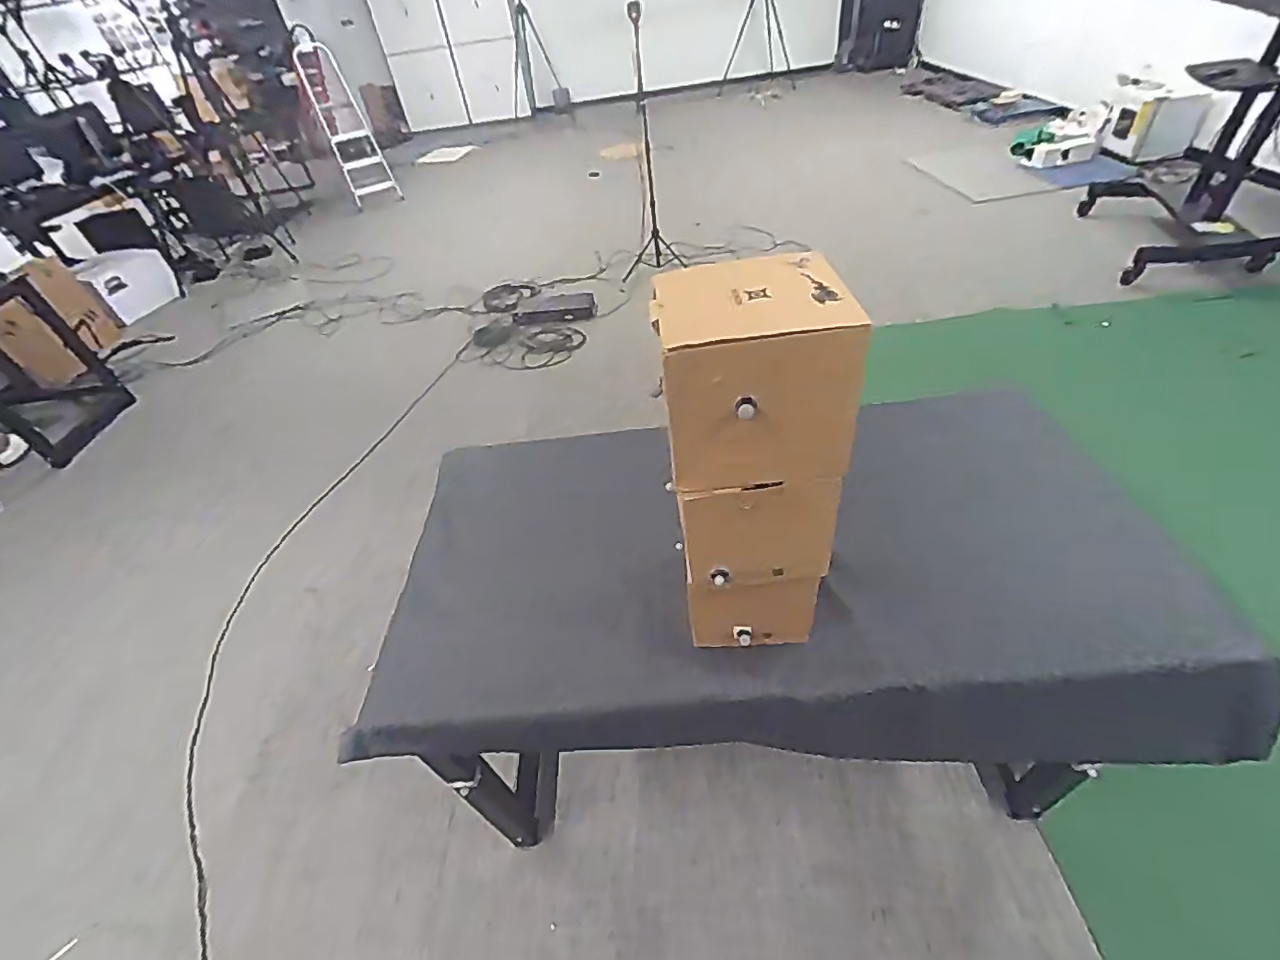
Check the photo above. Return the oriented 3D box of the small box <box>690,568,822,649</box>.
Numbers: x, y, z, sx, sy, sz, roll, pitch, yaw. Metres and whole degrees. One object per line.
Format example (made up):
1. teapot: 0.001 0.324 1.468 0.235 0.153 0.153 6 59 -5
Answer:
1. small box: 0.156 0.124 0.790 0.168 0.176 0.179 -6 43 6

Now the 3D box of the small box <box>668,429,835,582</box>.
1. small box: 0.130 0.011 0.672 0.168 0.176 0.179 -8 41 3

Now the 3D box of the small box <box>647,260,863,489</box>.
1. small box: 0.110 -0.107 0.565 0.179 0.176 0.168 -9 40 2
